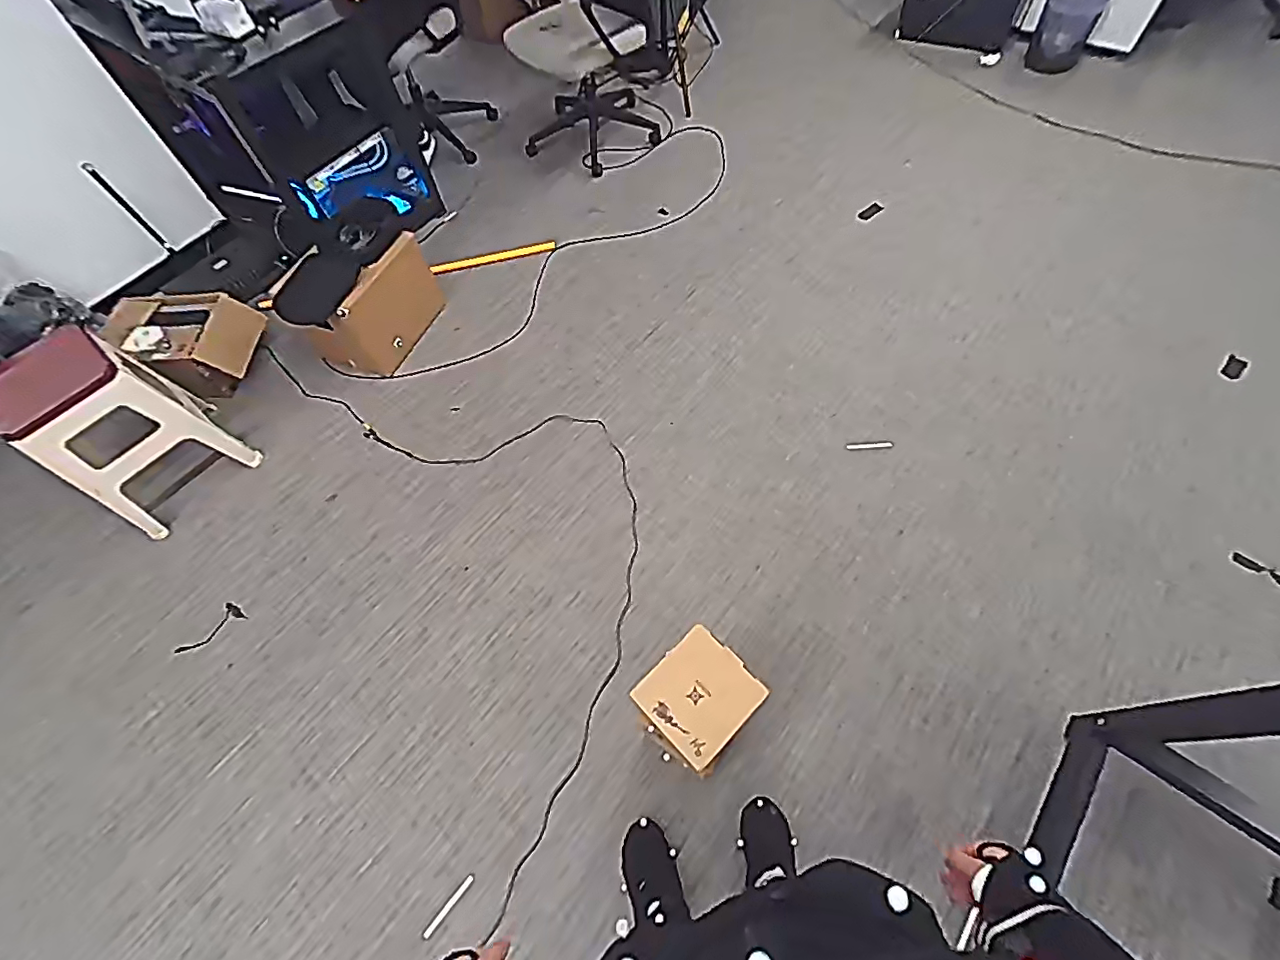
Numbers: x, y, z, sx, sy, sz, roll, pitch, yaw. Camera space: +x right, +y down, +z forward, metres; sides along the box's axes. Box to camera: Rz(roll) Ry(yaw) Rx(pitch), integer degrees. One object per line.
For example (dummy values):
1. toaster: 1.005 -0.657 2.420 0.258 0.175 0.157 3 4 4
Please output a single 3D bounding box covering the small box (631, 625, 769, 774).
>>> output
1. small box: 0.102 0.397 0.973 0.179 0.176 0.168 -41 66 -18
